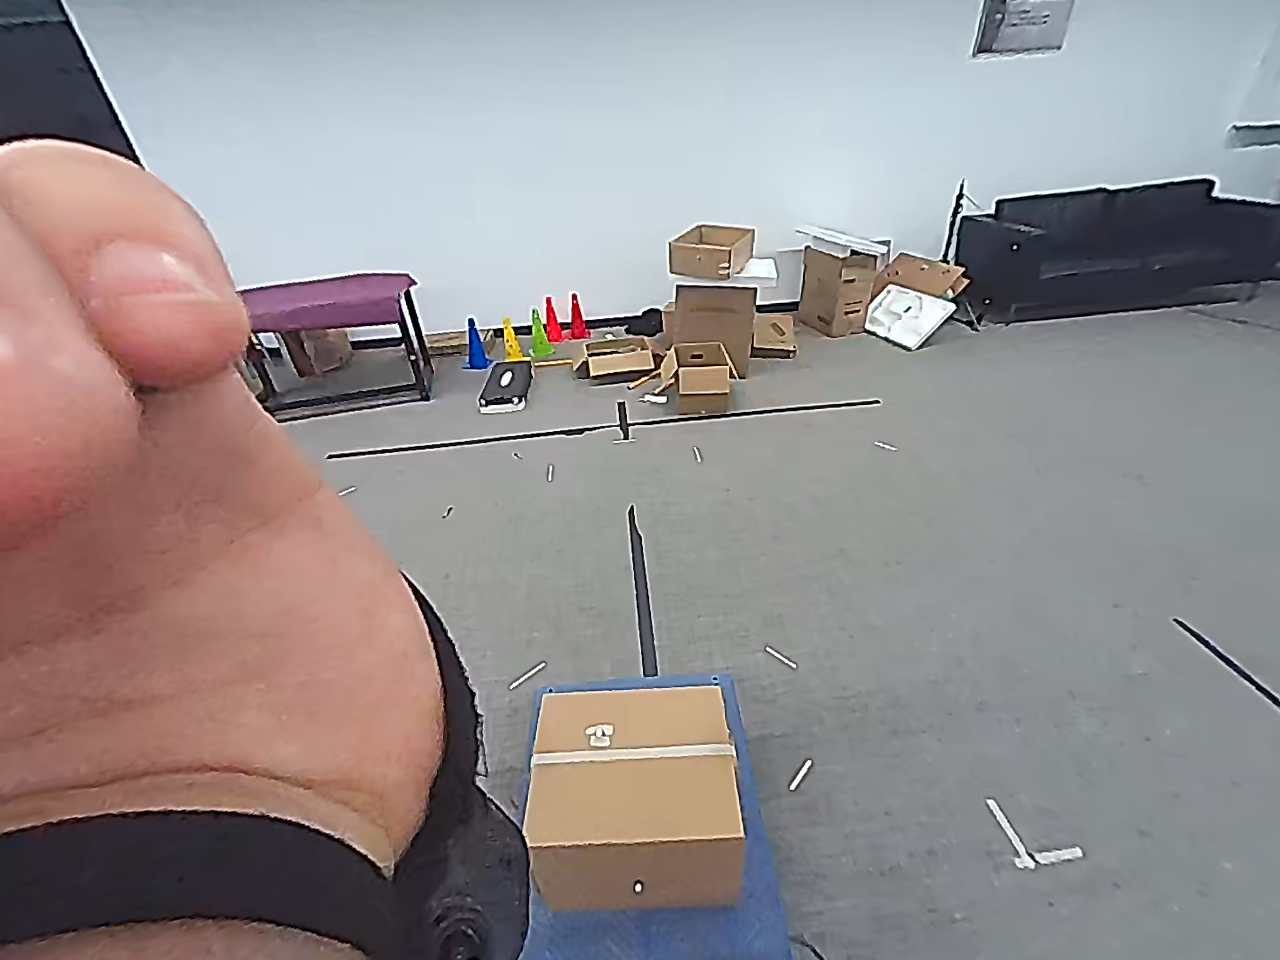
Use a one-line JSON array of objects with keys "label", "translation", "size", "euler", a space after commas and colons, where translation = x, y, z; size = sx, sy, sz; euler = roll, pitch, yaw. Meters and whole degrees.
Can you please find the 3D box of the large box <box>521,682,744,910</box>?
[{"label": "large box", "translation": [-0.005, 0.674, 1.161], "size": [0.408, 0.320, 0.320], "euler": [-5, 33, 2]}]
